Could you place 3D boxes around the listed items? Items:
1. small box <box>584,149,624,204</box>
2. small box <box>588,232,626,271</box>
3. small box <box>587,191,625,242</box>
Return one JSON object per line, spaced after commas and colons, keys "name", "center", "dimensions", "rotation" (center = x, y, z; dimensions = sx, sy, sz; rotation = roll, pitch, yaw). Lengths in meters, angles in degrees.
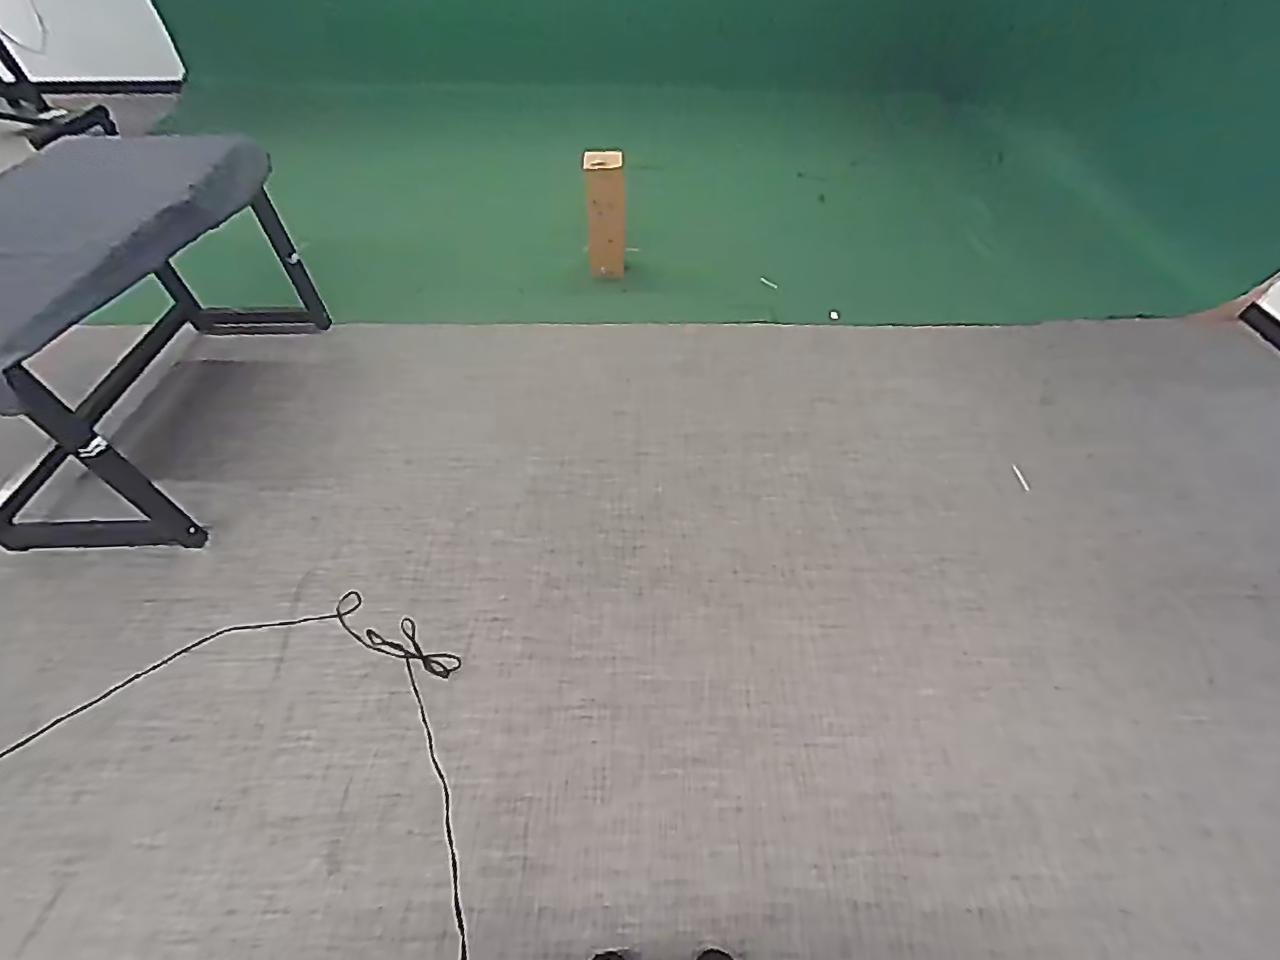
{"name": "small box", "center": [-0.153, -1.327, 2.369], "dimensions": [0.168, 0.176, 0.179], "rotation": [-1, 50, 0]}
{"name": "small box", "center": [-0.158, -1.129, 2.607], "dimensions": [0.168, 0.176, 0.179], "rotation": [0, 51, 2]}
{"name": "small box", "center": [-0.154, -1.222, 2.495], "dimensions": [0.168, 0.176, 0.179], "rotation": [0, 50, 1]}
